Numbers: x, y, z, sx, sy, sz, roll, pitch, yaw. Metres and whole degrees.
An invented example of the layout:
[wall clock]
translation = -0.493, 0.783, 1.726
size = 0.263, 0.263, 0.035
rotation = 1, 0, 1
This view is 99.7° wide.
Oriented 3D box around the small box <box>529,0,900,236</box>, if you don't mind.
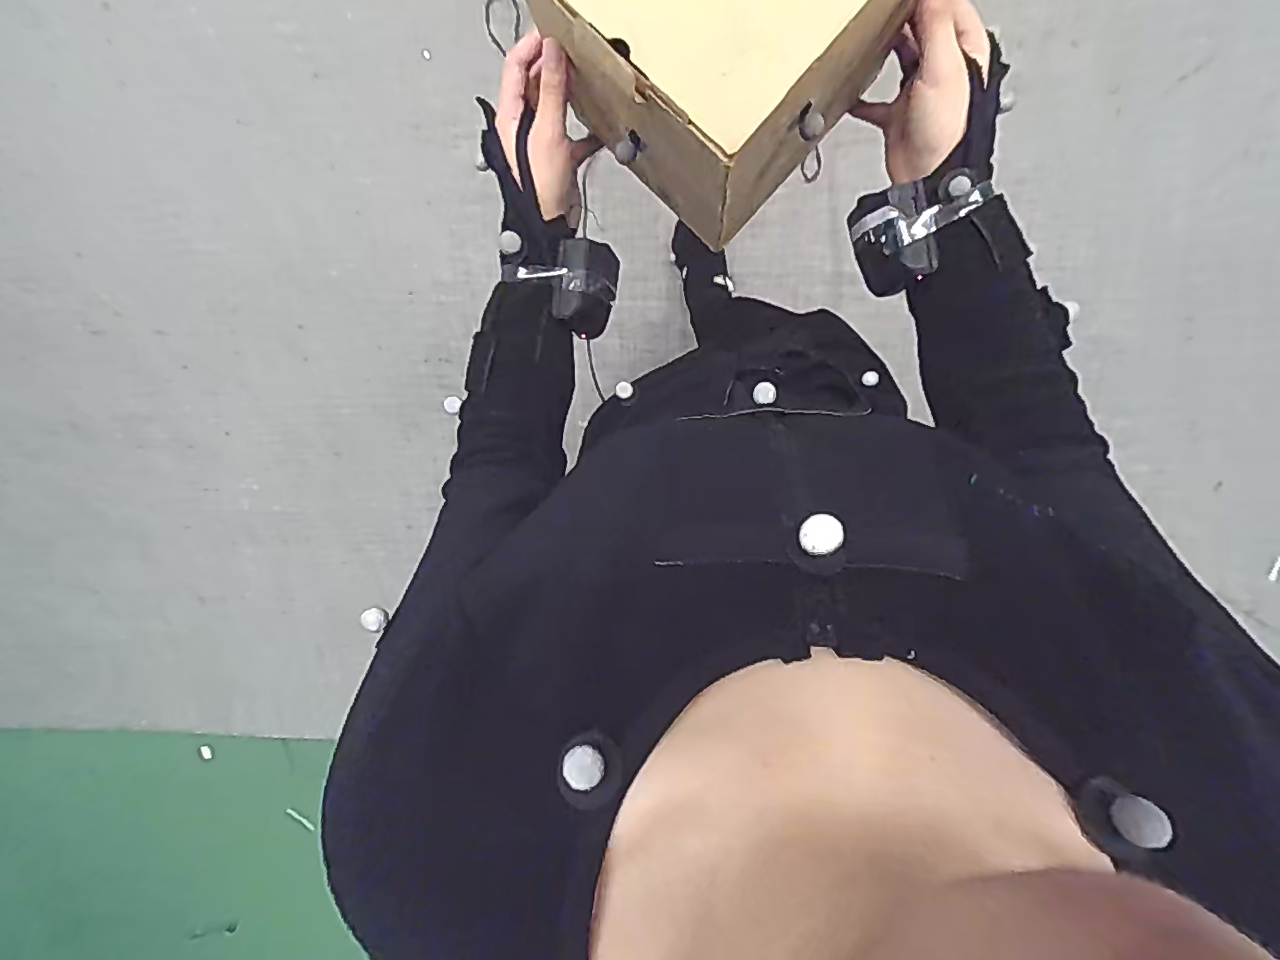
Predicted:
[small box]
translation = 0.056, -0.299, 0.357
size = 0.168, 0.176, 0.179
rotation = 44, 100, 0
